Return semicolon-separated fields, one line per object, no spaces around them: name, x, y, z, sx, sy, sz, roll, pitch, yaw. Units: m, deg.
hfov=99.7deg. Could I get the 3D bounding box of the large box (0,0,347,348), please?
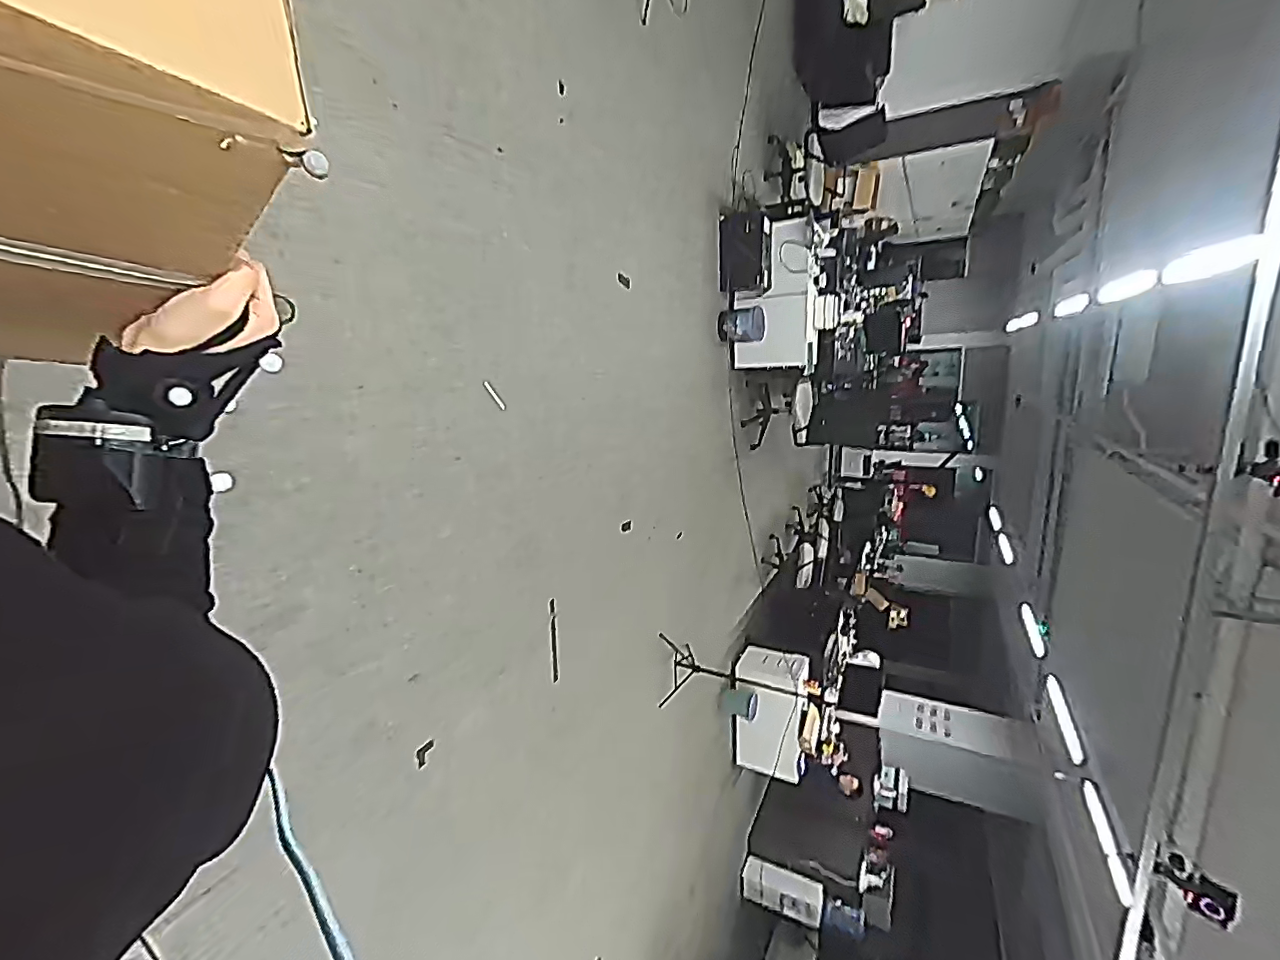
large box;-0.411;-0.276;0.208;0.408;0.320;0.320;-7;81;-53
